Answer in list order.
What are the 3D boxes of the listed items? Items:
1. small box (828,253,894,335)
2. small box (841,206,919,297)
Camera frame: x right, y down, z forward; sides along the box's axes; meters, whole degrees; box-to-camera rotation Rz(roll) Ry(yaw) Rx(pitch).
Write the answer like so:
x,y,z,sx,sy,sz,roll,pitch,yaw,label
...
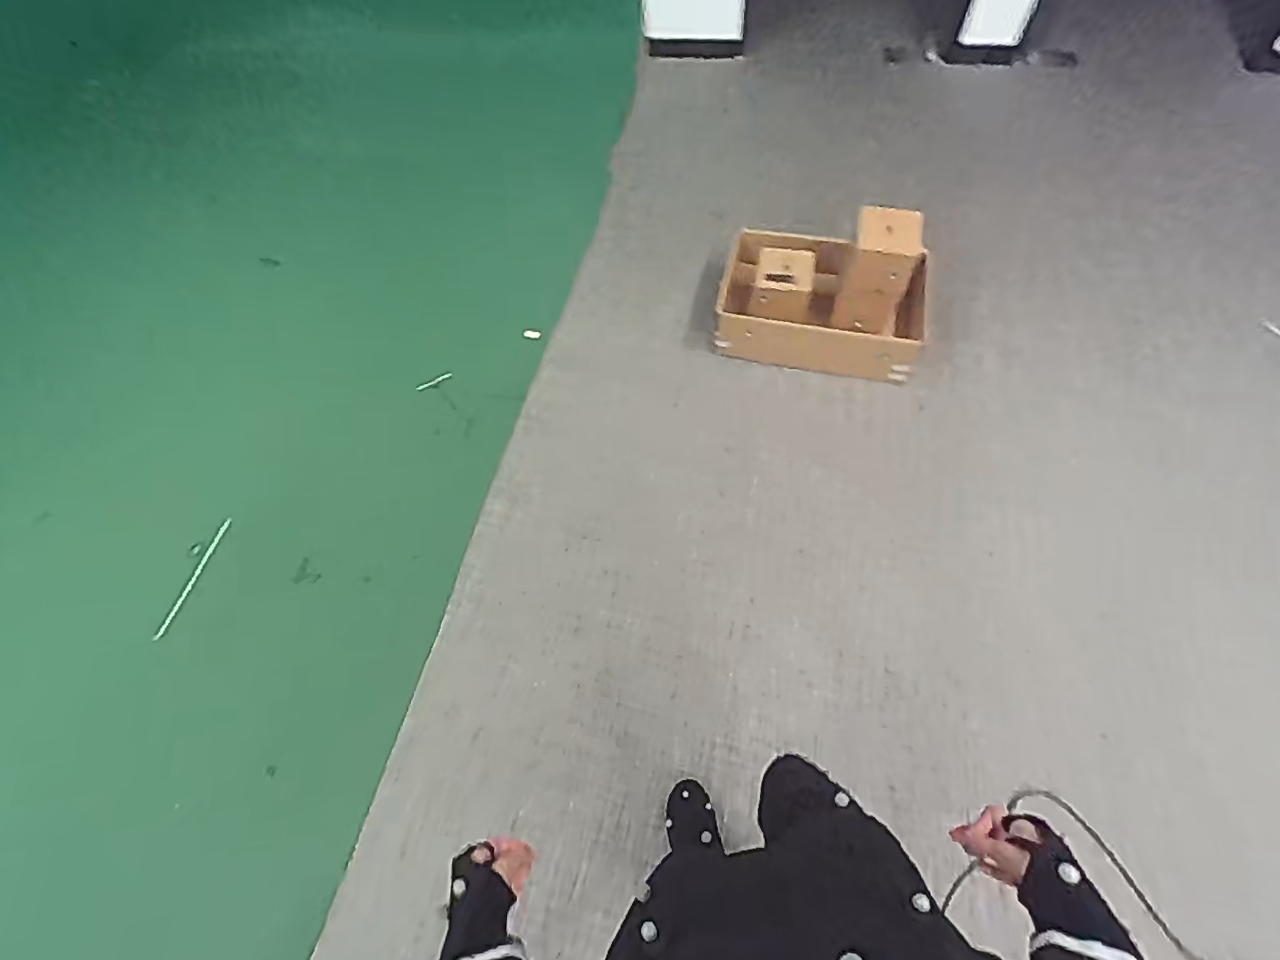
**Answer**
x,y,z,sx,sy,sz,roll,pitch,yaw,label
0.703,-0.590,1.716,0.168,0.176,0.179,10,65,12,small box
0.690,-0.659,1.569,0.168,0.176,0.179,11,65,11,small box
